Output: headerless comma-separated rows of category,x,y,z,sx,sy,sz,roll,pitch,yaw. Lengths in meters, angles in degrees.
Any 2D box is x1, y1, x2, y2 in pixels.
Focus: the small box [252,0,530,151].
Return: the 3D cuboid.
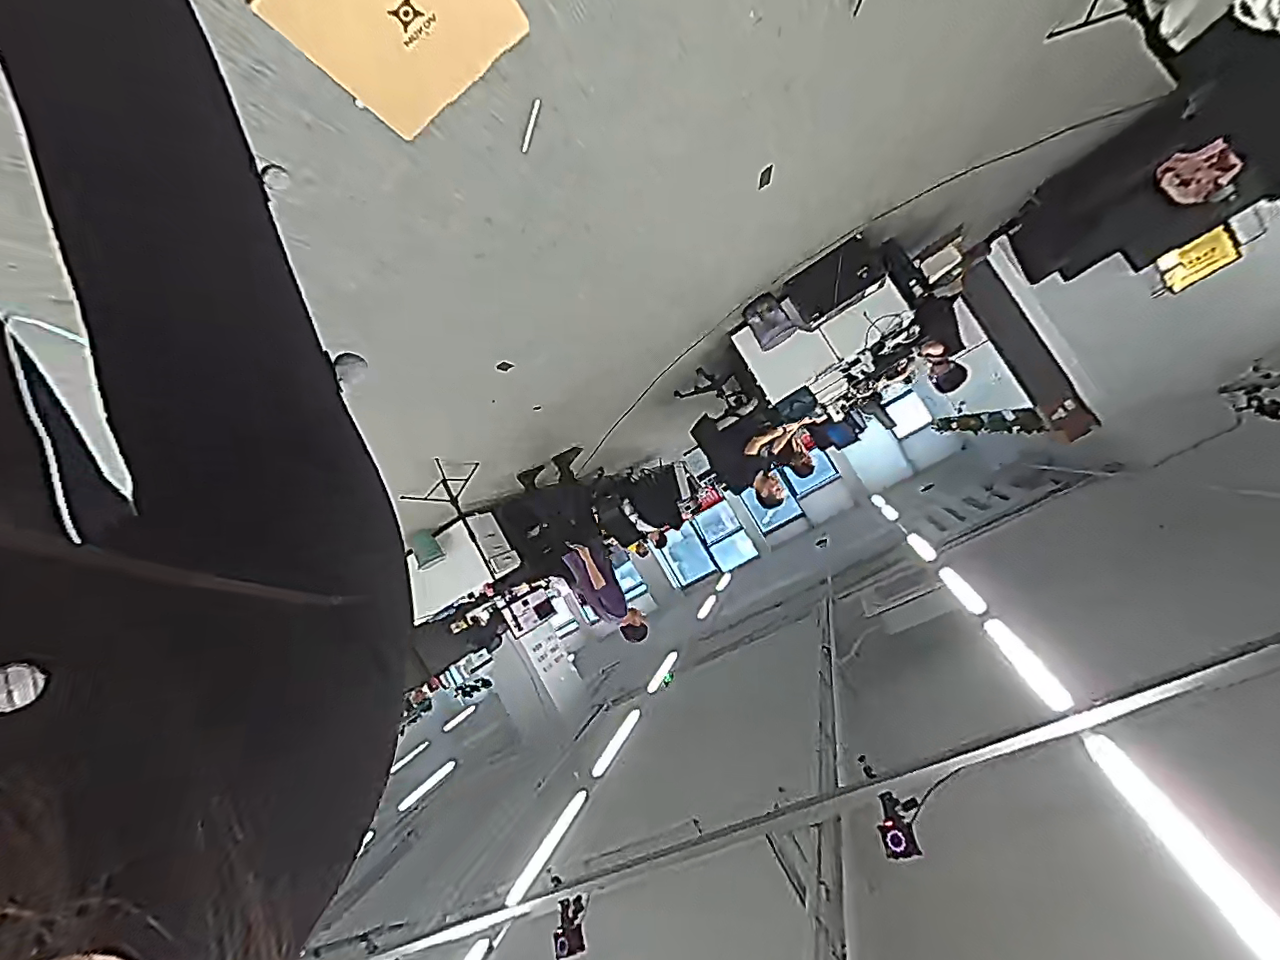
small box,-0.234,-0.445,0.463,0.168,0.176,0.179,-33,175,14
